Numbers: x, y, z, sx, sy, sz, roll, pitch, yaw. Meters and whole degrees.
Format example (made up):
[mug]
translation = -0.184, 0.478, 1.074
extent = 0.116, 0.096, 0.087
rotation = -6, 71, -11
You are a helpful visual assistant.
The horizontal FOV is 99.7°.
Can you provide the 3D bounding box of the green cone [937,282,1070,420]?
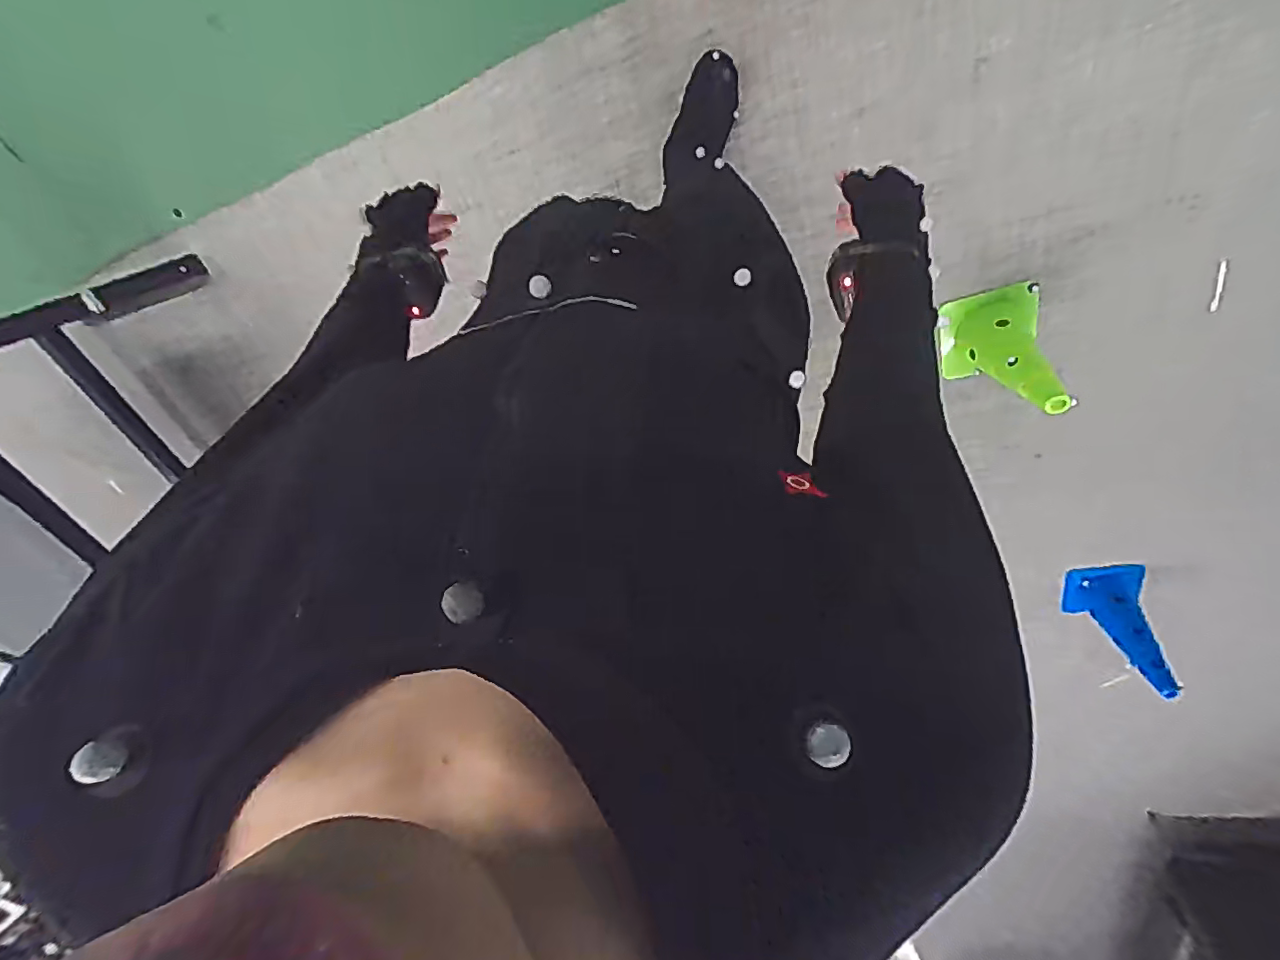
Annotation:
[green cone]
translation = 0.780, -0.238, 1.123
extent = 0.200, 0.368, 0.202
rotation = -13, 124, 19
